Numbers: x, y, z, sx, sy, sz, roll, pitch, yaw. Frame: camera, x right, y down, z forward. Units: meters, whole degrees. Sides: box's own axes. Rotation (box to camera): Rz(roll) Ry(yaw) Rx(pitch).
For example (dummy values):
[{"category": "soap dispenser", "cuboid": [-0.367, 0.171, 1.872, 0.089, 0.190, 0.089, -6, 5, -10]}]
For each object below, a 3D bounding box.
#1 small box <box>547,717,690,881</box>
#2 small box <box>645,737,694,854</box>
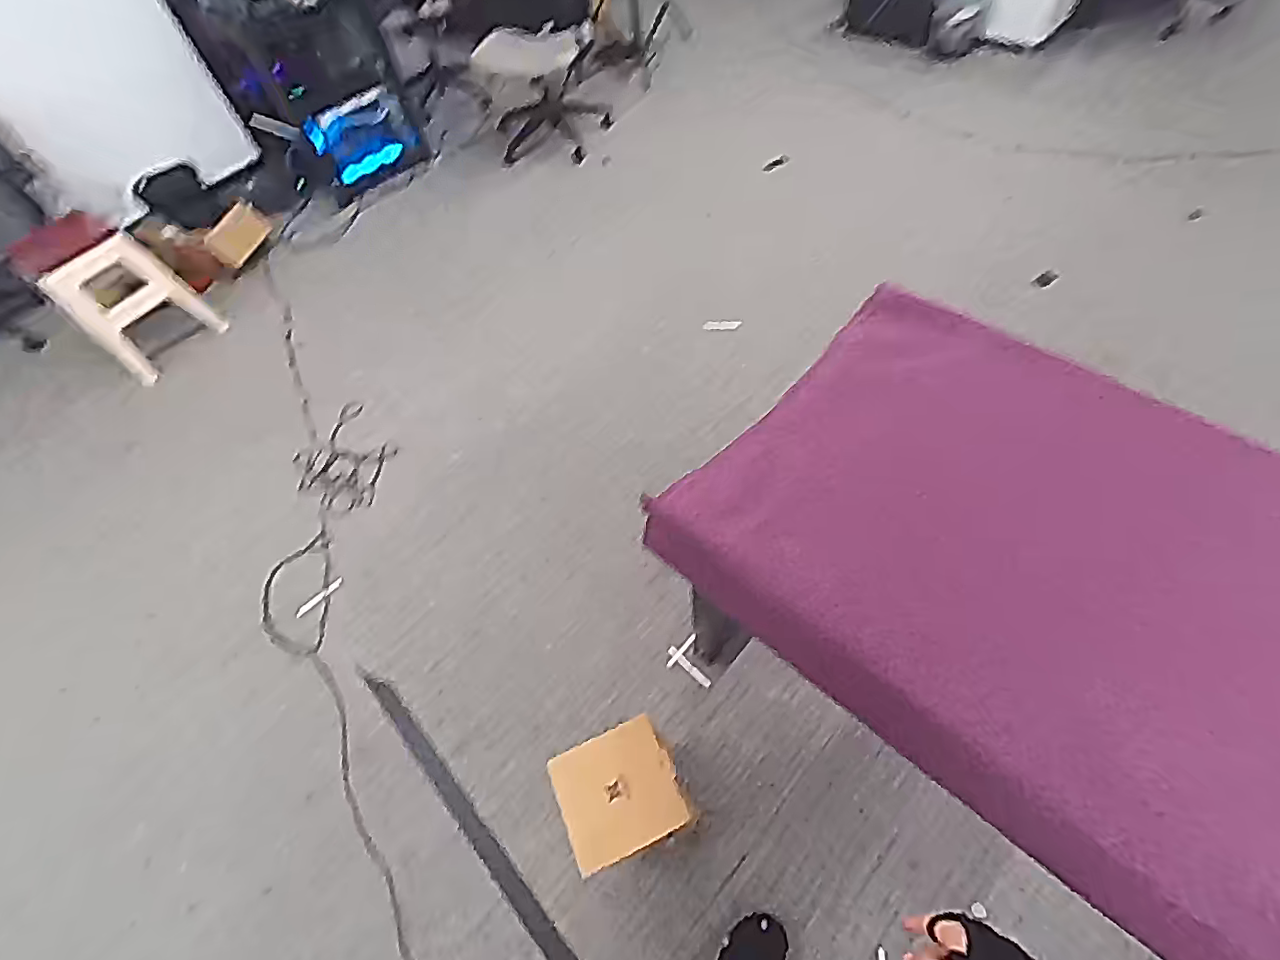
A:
[{"category": "small box", "cuboid": [-0.028, 0.517, 0.880, 0.179, 0.176, 0.168, -24, 58, -9]}, {"category": "small box", "cuboid": [-0.006, 0.604, 1.017, 0.179, 0.176, 0.168, -18, 57, -5]}]
